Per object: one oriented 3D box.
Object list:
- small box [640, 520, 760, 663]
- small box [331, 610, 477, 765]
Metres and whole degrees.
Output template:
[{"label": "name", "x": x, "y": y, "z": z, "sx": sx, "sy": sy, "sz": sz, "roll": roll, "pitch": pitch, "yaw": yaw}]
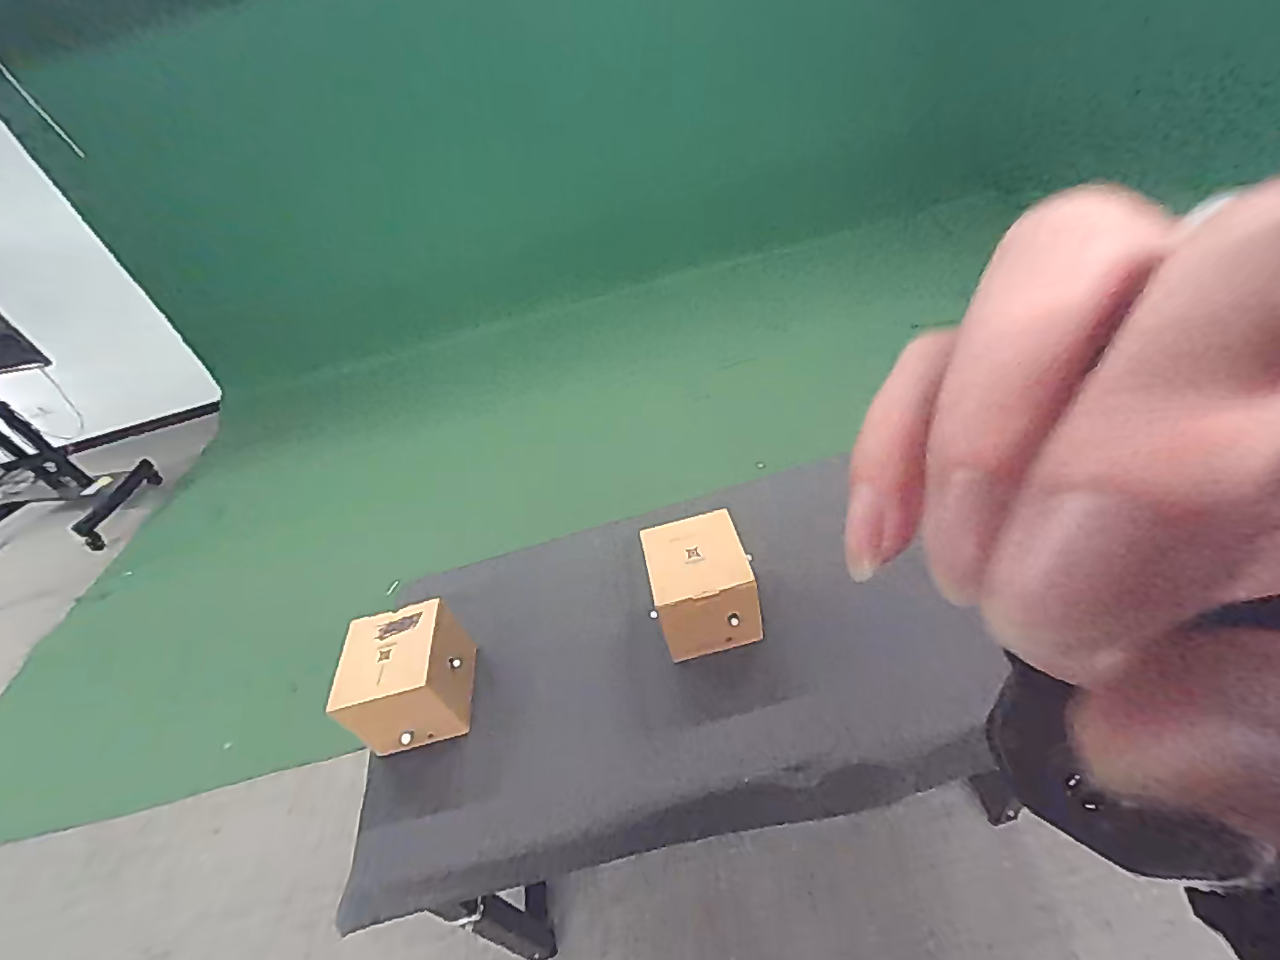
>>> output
[{"label": "small box", "x": 0.109, "y": 0.205, "z": 0.970, "sx": 0.168, "sy": 0.176, "sz": 0.179, "roll": -15, "pitch": 38, "yaw": 0}, {"label": "small box", "x": -0.397, "y": 0.365, "z": 0.950, "sx": 0.168, "sy": 0.176, "sz": 0.179, "roll": -16, "pitch": 40, "yaw": 0}]
